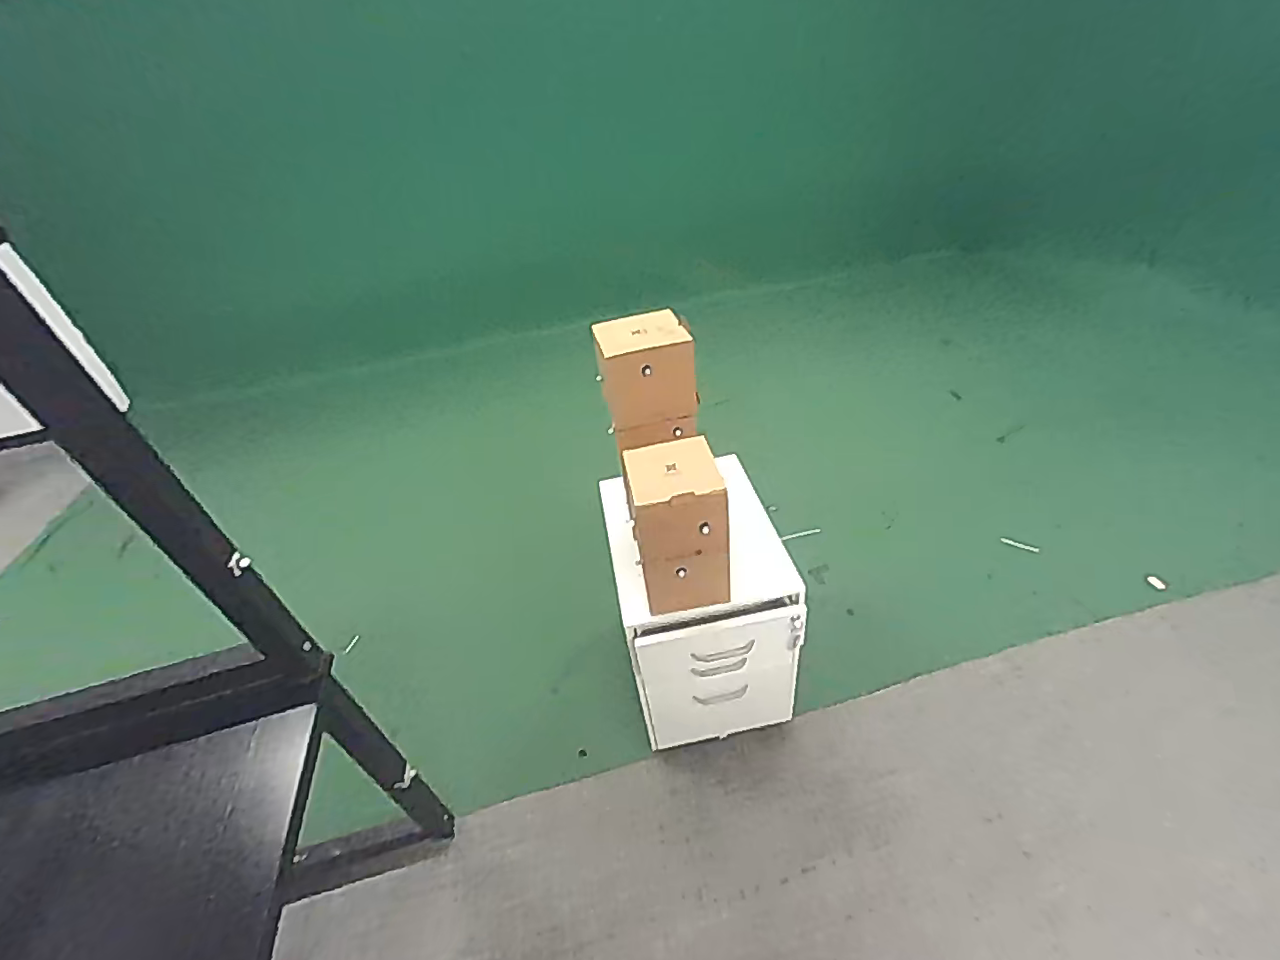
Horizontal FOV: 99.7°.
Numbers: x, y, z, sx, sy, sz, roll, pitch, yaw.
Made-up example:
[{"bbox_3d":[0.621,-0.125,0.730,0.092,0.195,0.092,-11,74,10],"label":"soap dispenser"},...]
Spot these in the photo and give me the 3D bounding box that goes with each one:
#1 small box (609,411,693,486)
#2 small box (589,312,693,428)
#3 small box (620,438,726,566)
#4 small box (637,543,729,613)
[{"bbox_3d":[0.027,-0.103,1.228,0.179,0.176,0.168,-8,38,-1],"label":"small box"},{"bbox_3d":[0.004,-0.227,1.122,0.179,0.176,0.168,-13,39,-7],"label":"small box"},{"bbox_3d":[0.064,0.047,1.029,0.168,0.176,0.179,-11,37,-4],"label":"small box"},{"bbox_3d":[0.086,0.162,1.143,0.179,0.176,0.168,-9,38,-1],"label":"small box"}]
